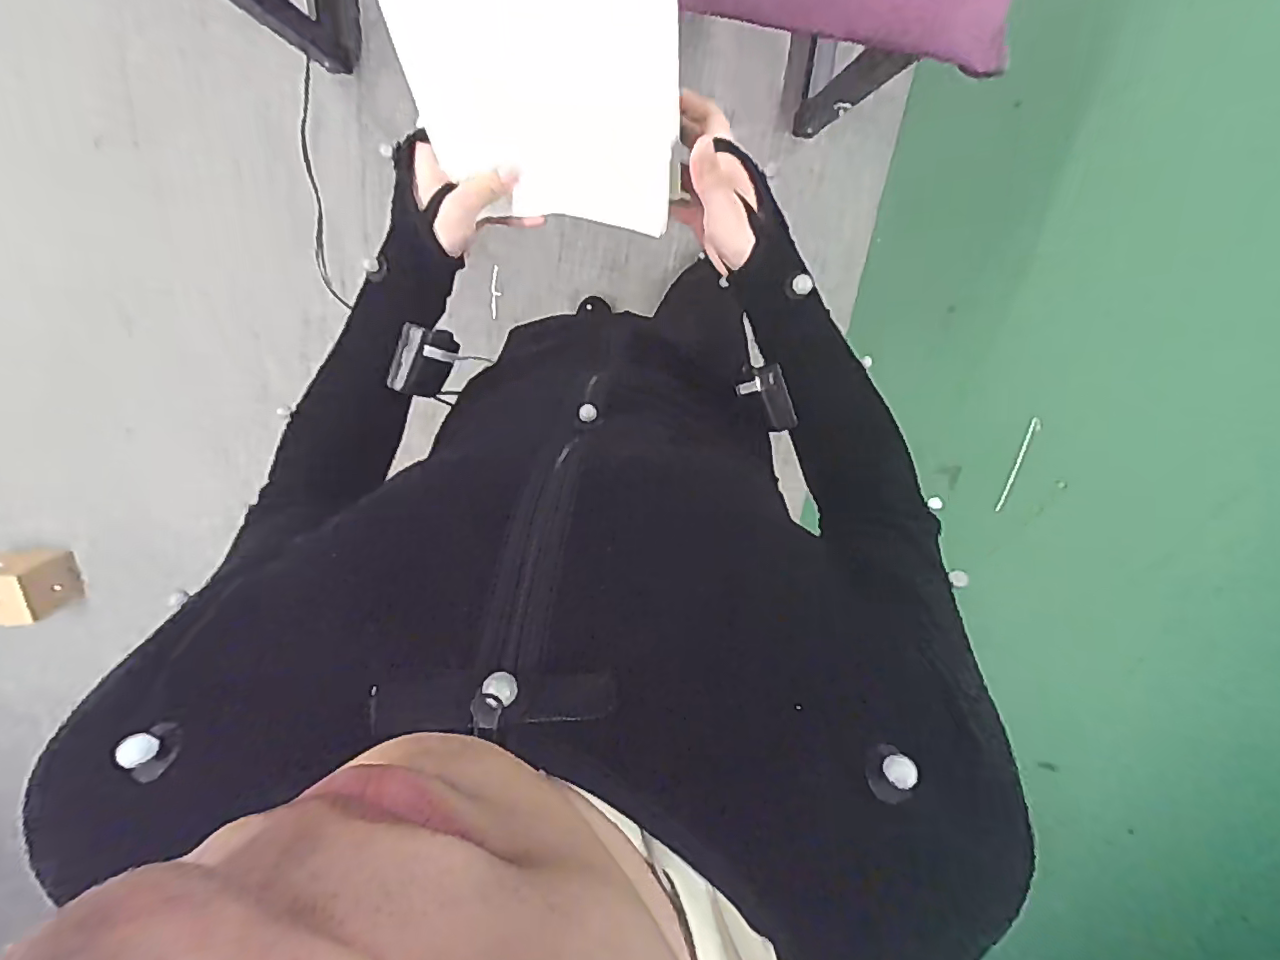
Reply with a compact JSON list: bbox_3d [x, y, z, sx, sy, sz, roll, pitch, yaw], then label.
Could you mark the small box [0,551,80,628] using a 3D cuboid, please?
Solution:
[{"bbox_3d":[-1.845,0.322,1.617,0.179,0.176,0.168,3,109,-4],"label":"small box"}]
